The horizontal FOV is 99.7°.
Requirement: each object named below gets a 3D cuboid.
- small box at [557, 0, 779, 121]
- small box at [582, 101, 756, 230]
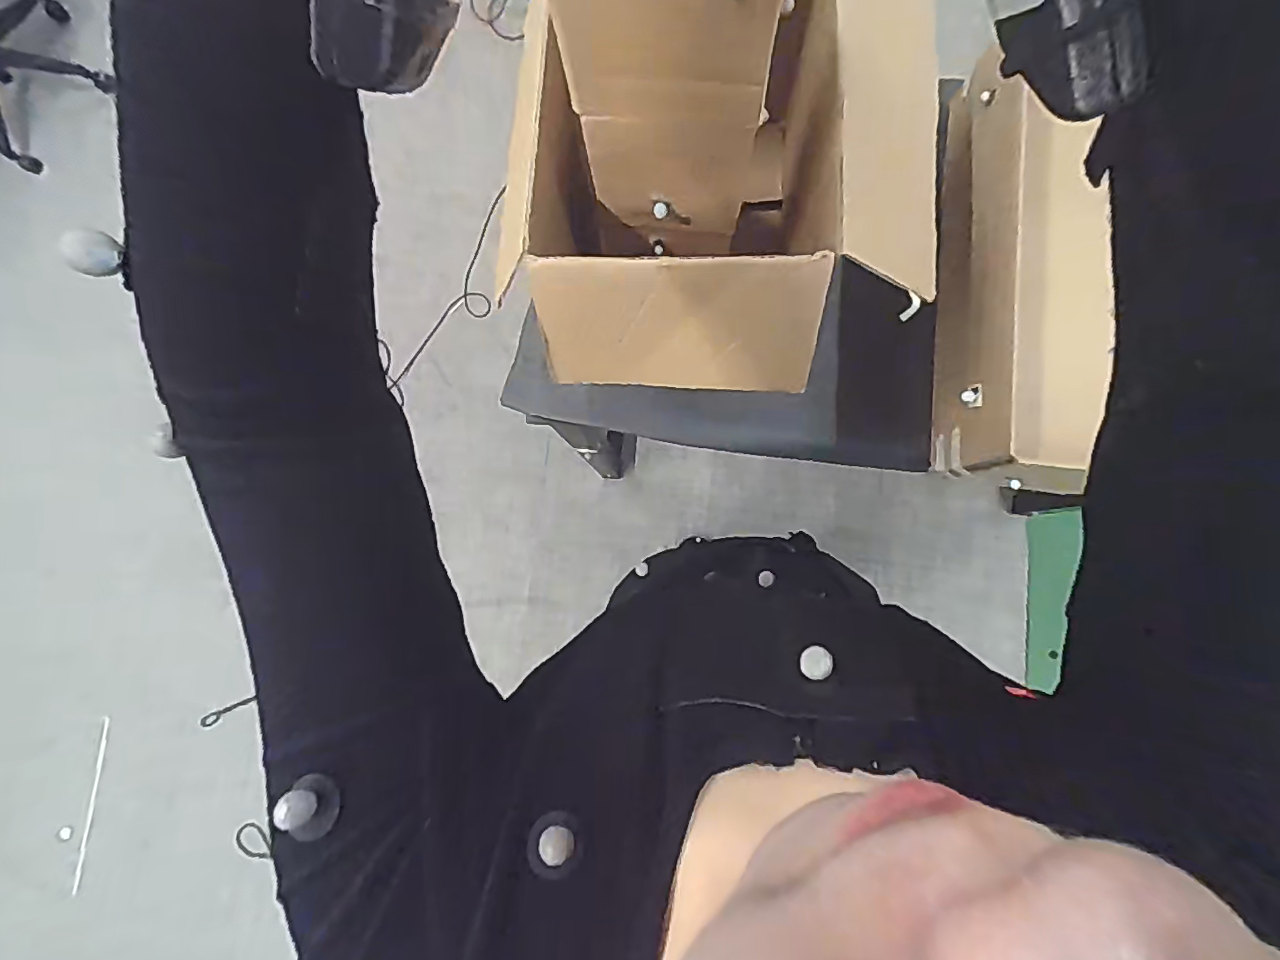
[{"bbox_3d":[0.029,-0.425,0.431,0.179,0.176,0.168,9,84,4],"label":"small box"},{"bbox_3d":[0.041,-0.408,0.591,0.168,0.176,0.179,8,85,4],"label":"small box"}]
